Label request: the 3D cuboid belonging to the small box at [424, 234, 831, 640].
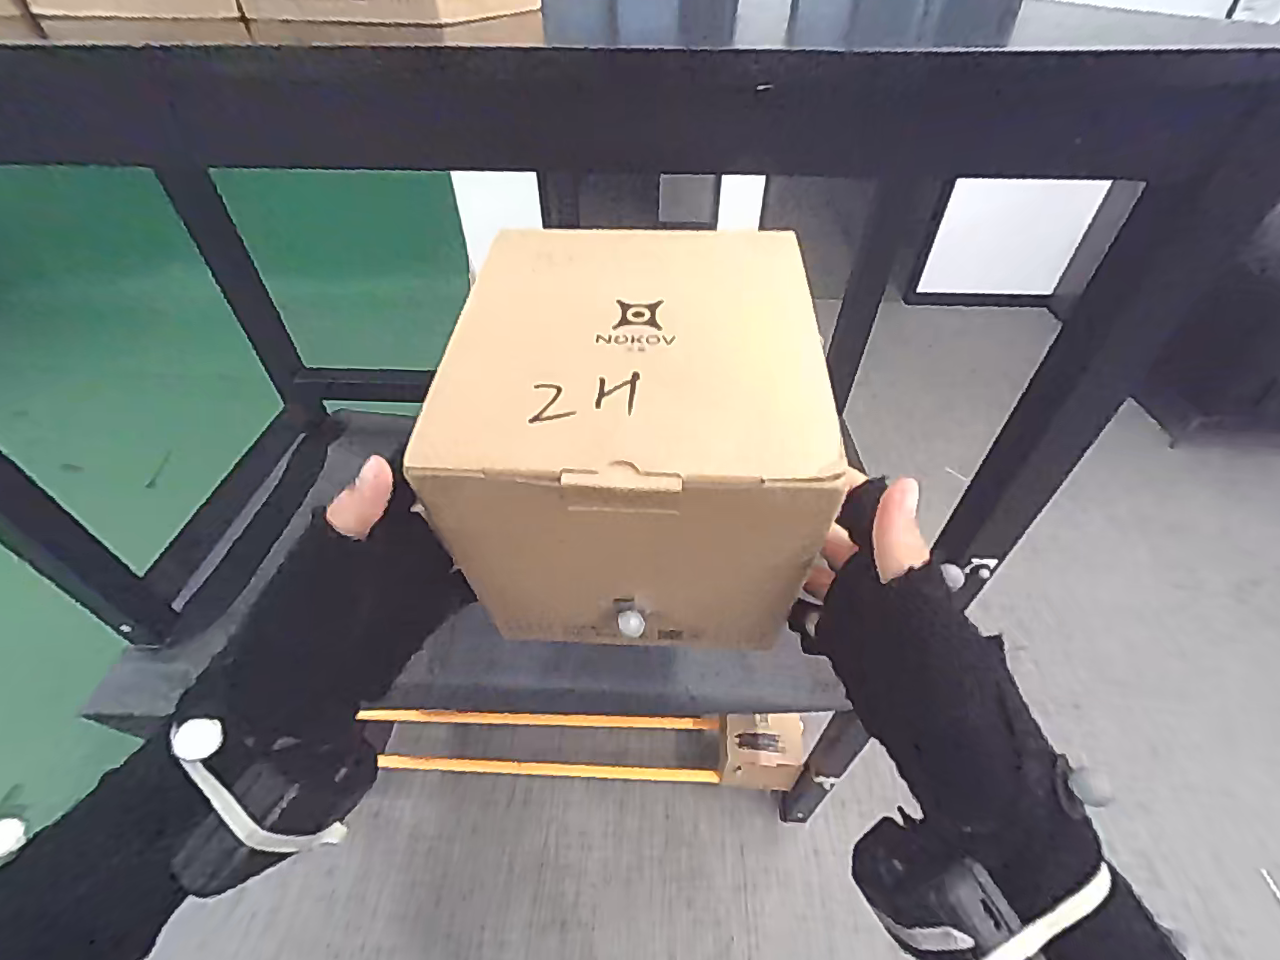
[{"bbox_3d":[0.000,-0.023,0.326,0.168,0.176,0.179,2,53,4],"label":"small box"}]
